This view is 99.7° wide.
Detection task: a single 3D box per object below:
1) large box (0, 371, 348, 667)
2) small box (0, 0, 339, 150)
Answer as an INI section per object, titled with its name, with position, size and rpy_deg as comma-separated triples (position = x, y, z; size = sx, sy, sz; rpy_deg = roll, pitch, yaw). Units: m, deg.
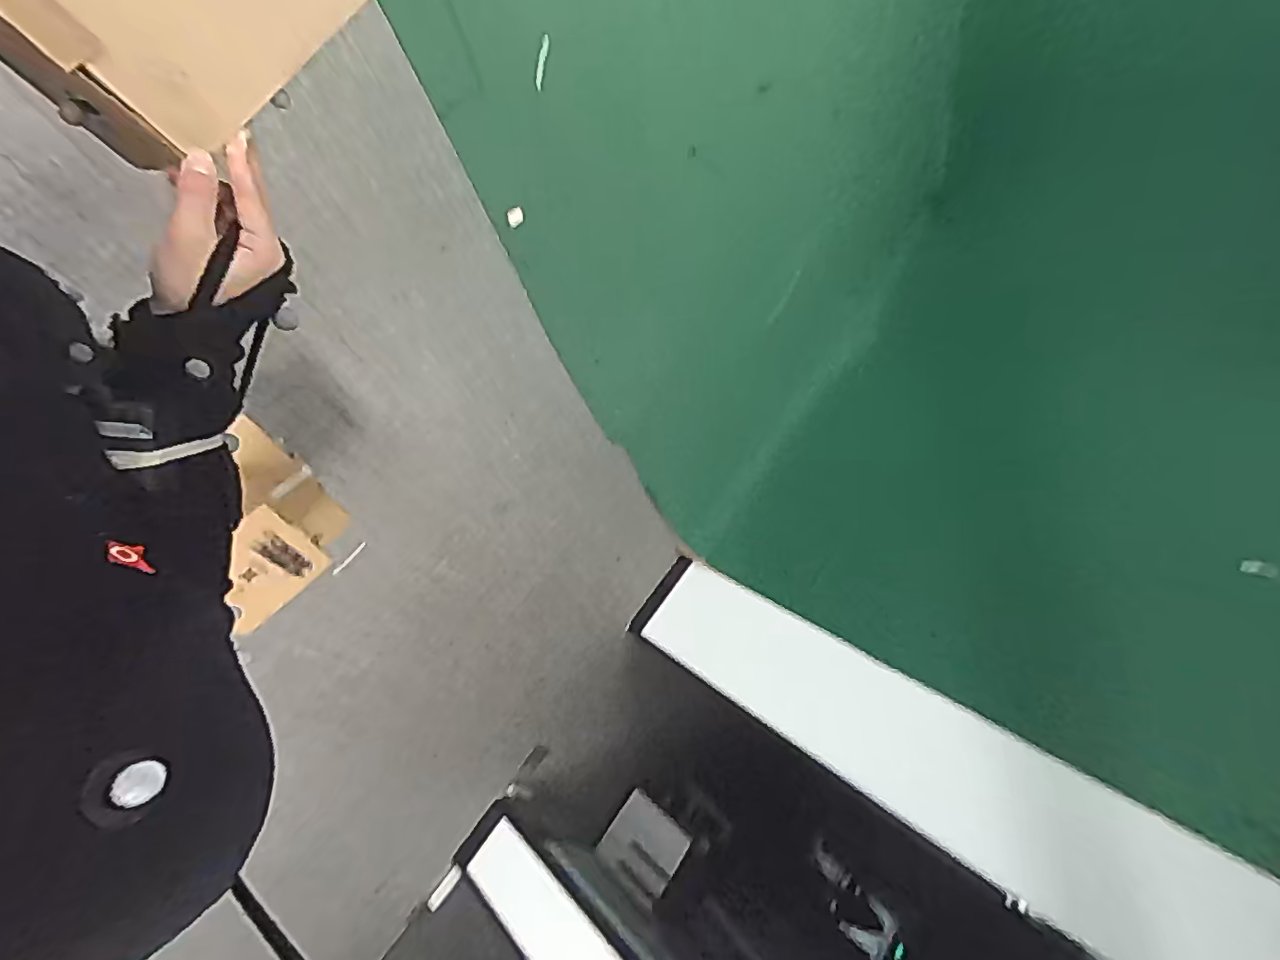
[large box]
position = -0.877, 0.058, 1.036
size = 0.408, 0.320, 0.320
rpy_deg = -45, 140, -22
[small box]
position = -0.312, -0.323, 0.313
size = 0.179, 0.176, 0.168
rpy_deg = -59, 145, -11
